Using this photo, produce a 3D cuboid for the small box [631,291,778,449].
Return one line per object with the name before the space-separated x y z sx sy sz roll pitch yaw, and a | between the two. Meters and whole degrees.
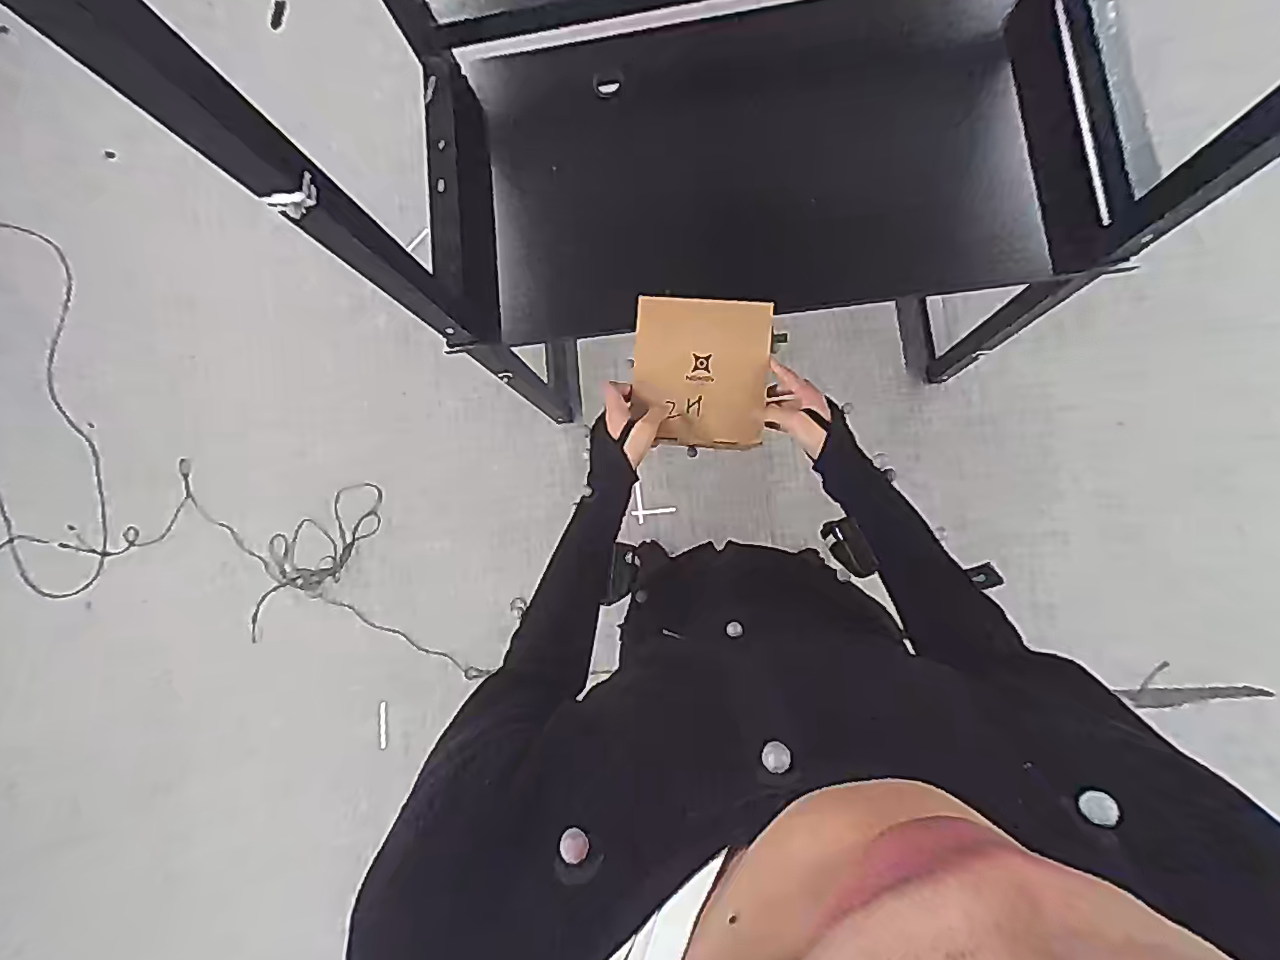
small box | 0.082 -0.138 0.733 0.168 0.176 0.179 5 92 5
